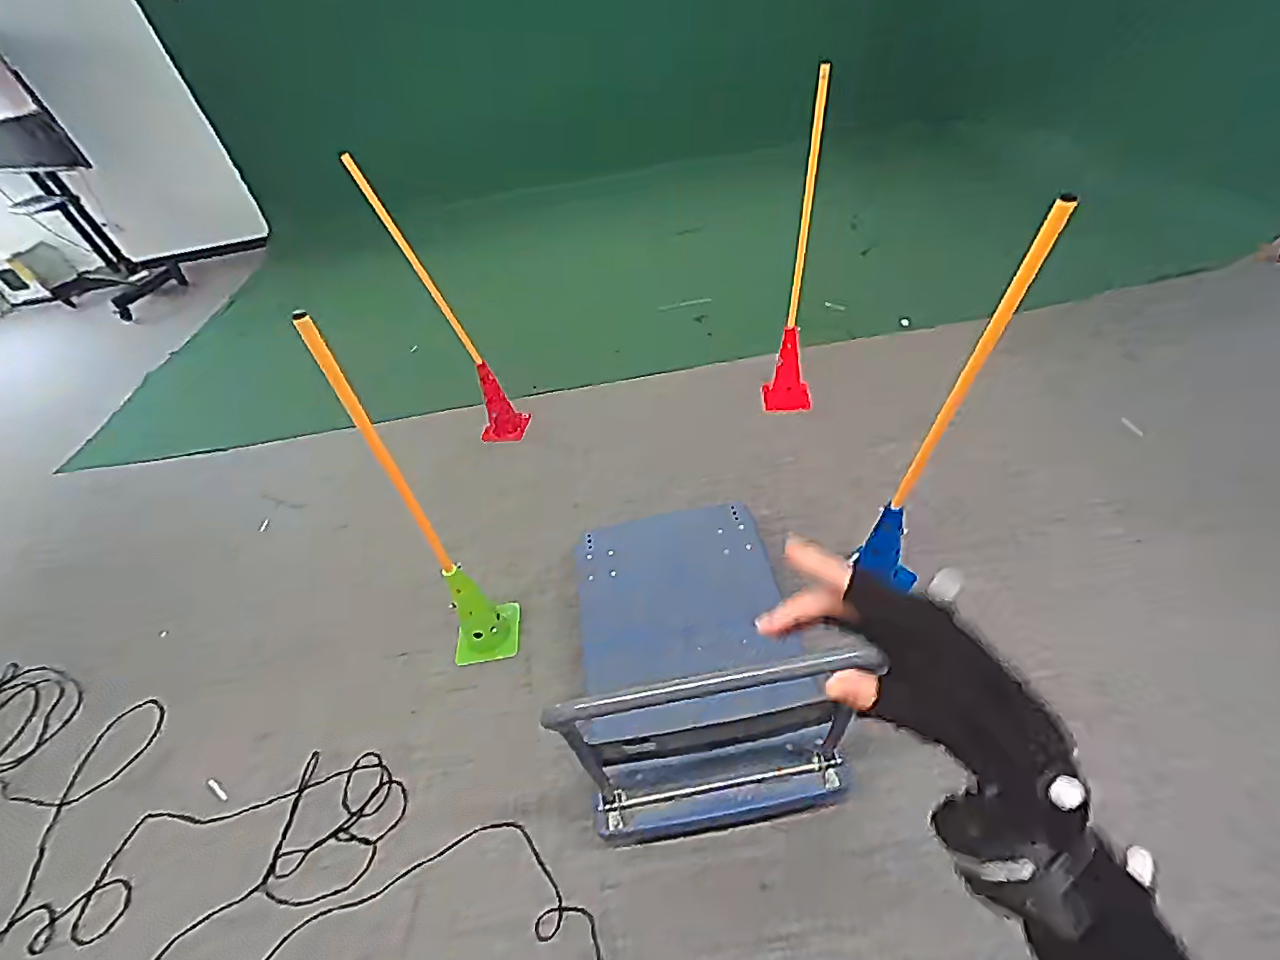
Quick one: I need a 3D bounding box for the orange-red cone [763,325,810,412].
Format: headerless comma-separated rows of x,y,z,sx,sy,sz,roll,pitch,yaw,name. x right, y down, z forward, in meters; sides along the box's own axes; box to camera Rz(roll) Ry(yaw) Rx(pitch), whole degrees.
0.626,-0.488,2.288,0.198,0.360,0.199,-2,46,10,orange-red cone
